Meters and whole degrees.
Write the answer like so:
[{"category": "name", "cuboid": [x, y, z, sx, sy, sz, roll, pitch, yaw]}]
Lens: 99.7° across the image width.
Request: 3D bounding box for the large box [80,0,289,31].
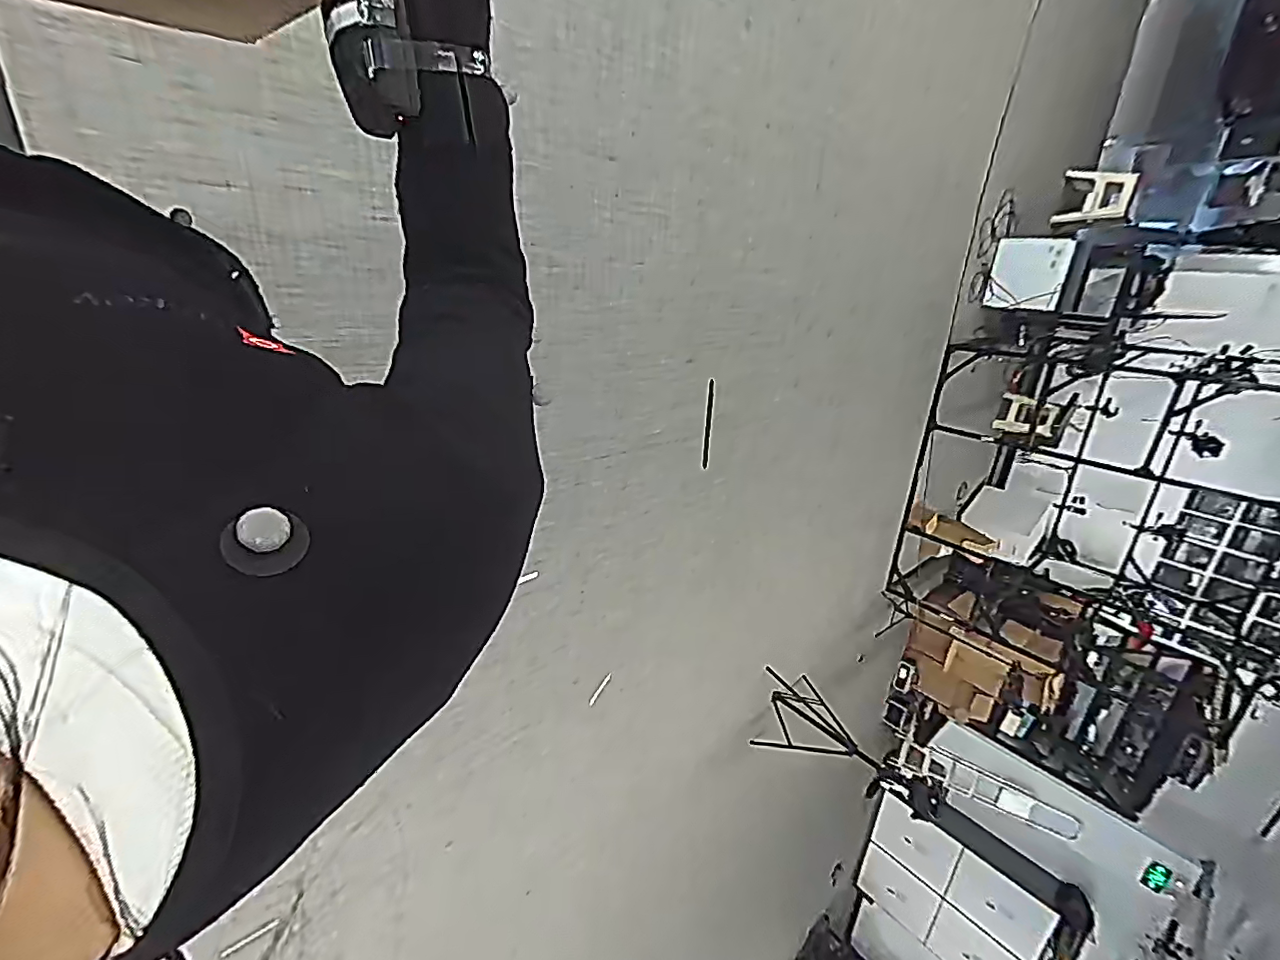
[{"category": "large box", "cuboid": [-0.393, -0.426, 0.203, 0.408, 0.320, 0.320, -20, 128, -39]}]
